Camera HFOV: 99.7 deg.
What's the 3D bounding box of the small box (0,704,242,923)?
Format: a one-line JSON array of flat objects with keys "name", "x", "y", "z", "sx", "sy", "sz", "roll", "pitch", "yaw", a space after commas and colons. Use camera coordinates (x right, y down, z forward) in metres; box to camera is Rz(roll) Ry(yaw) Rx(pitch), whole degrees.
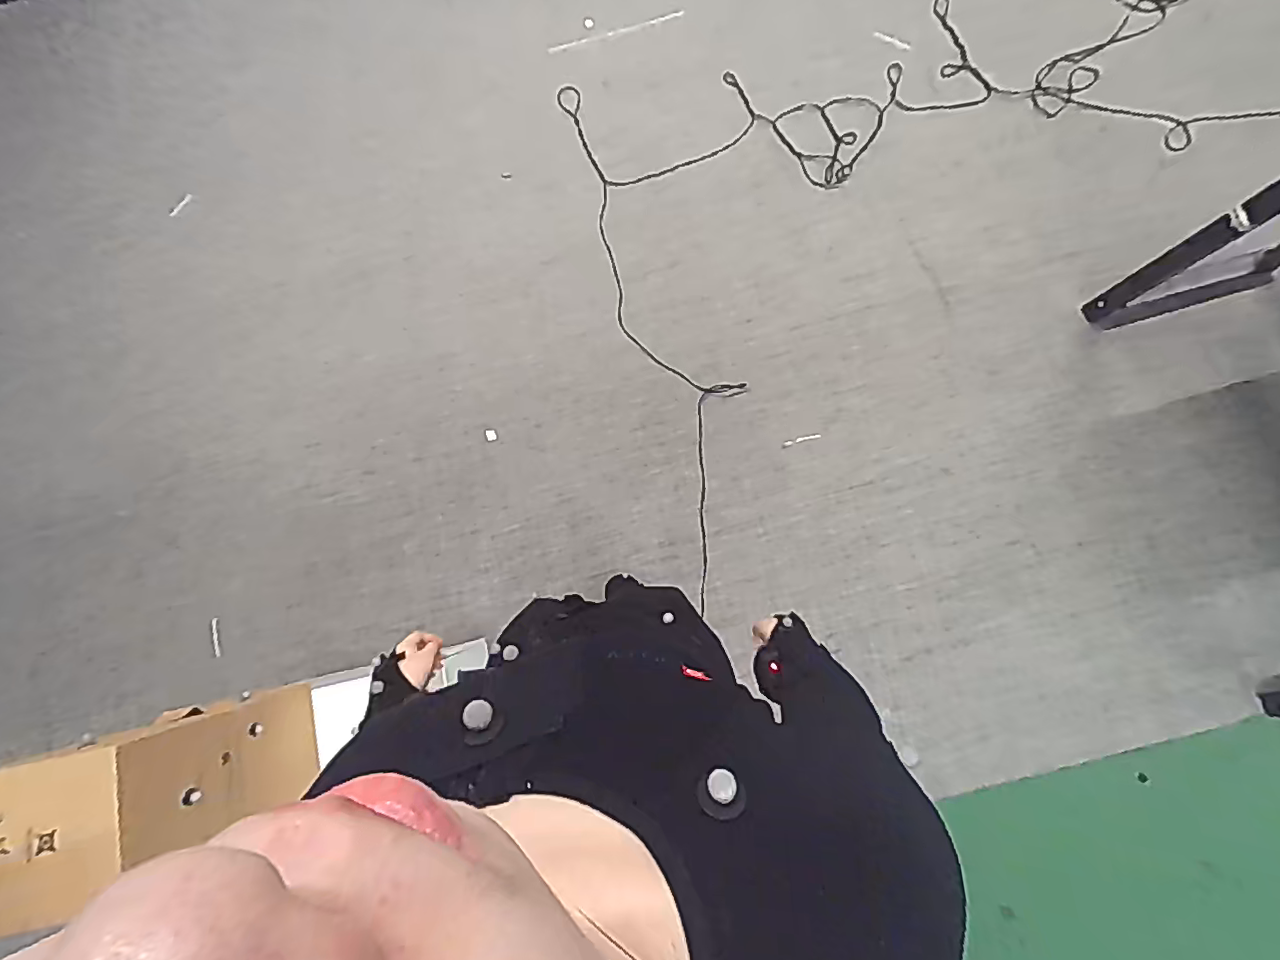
[{"name": "small box", "x": -0.629, "y": 0.391, "z": 0.665, "sx": 0.179, "sy": 0.176, "sz": 0.168, "roll": -12, "pitch": 80, "yaw": 1}]
